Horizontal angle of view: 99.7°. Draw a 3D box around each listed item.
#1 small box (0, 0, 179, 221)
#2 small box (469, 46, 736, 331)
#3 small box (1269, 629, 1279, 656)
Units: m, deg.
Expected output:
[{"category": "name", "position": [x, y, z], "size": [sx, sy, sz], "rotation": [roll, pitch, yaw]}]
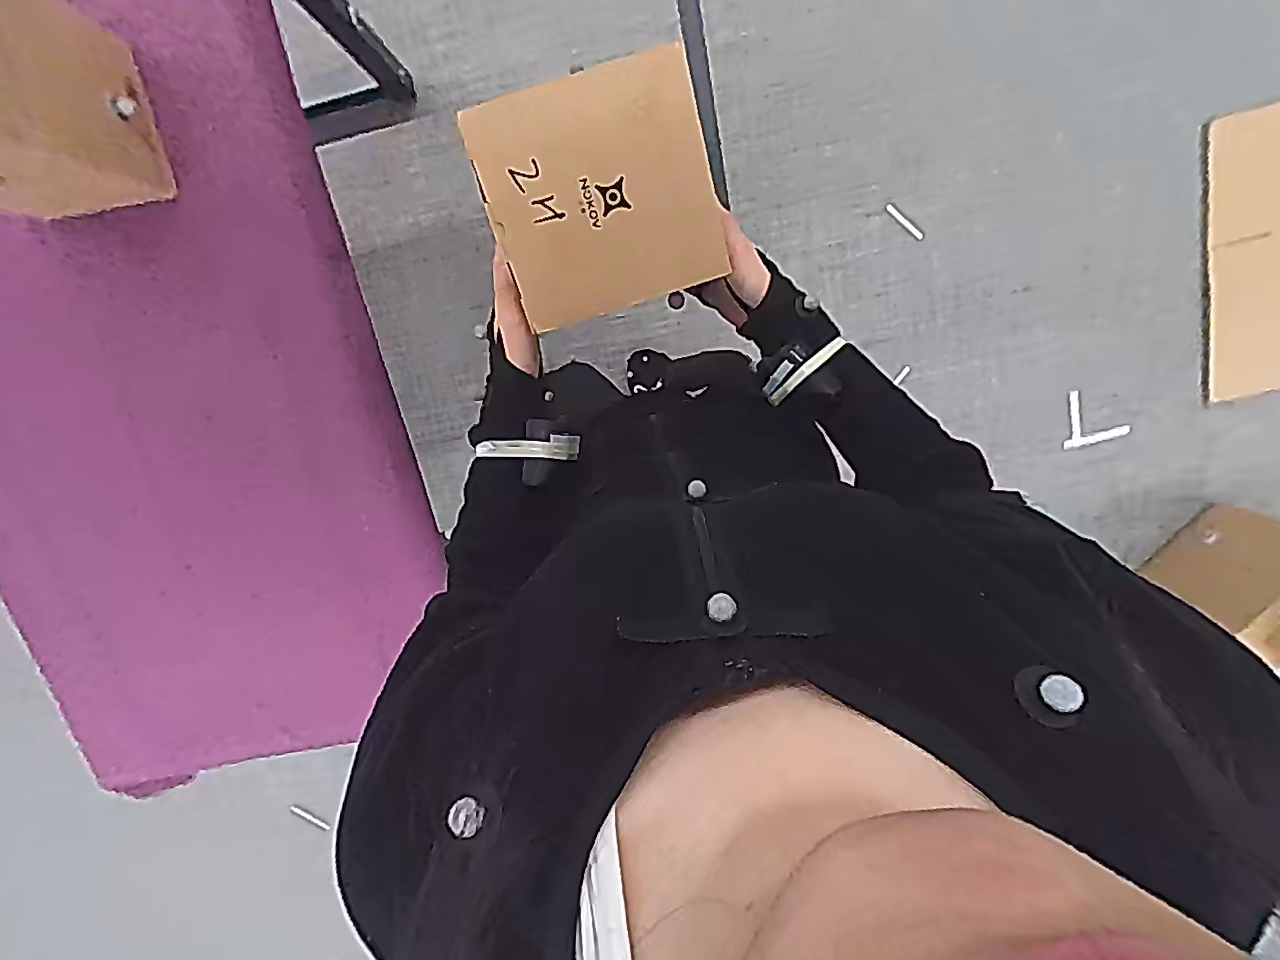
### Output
[{"category": "small box", "position": [-0.652, -0.385, 0.564], "size": [0.179, 0.176, 0.168], "rotation": [-9, 104, 2]}, {"category": "small box", "position": [-0.031, -0.246, 0.492], "size": [0.179, 0.176, 0.168], "rotation": [-16, 111, 1]}, {"category": "small box", "position": [1.586, 0.384, 1.190], "size": [0.168, 0.176, 0.179], "rotation": [36, 102, -7]}]
